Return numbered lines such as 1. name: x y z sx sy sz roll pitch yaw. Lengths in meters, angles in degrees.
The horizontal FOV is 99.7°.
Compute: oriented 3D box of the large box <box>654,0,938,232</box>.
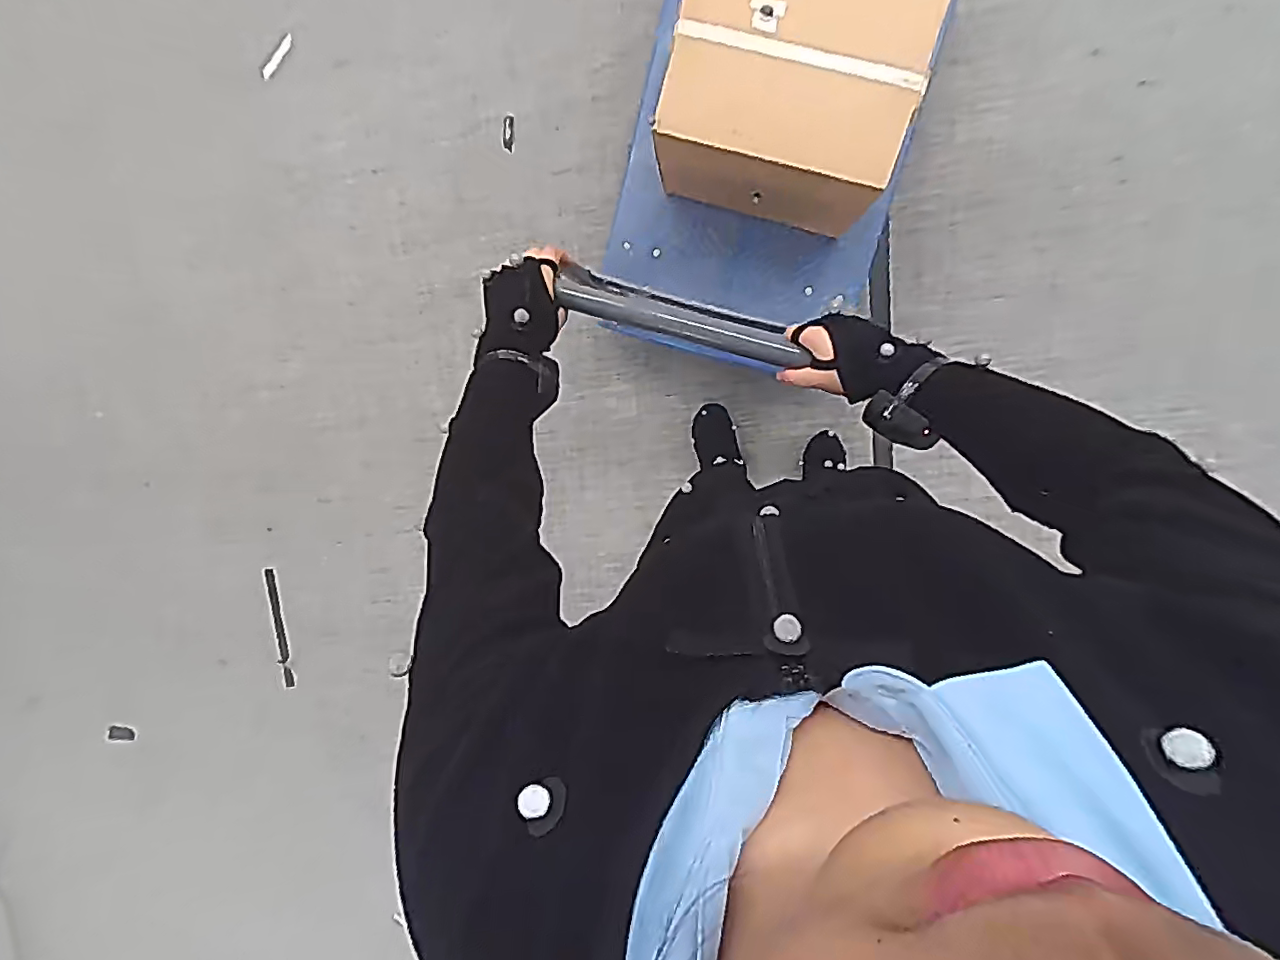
1. large box: 0.270 -0.711 1.035 0.408 0.320 0.320 16 100 5
